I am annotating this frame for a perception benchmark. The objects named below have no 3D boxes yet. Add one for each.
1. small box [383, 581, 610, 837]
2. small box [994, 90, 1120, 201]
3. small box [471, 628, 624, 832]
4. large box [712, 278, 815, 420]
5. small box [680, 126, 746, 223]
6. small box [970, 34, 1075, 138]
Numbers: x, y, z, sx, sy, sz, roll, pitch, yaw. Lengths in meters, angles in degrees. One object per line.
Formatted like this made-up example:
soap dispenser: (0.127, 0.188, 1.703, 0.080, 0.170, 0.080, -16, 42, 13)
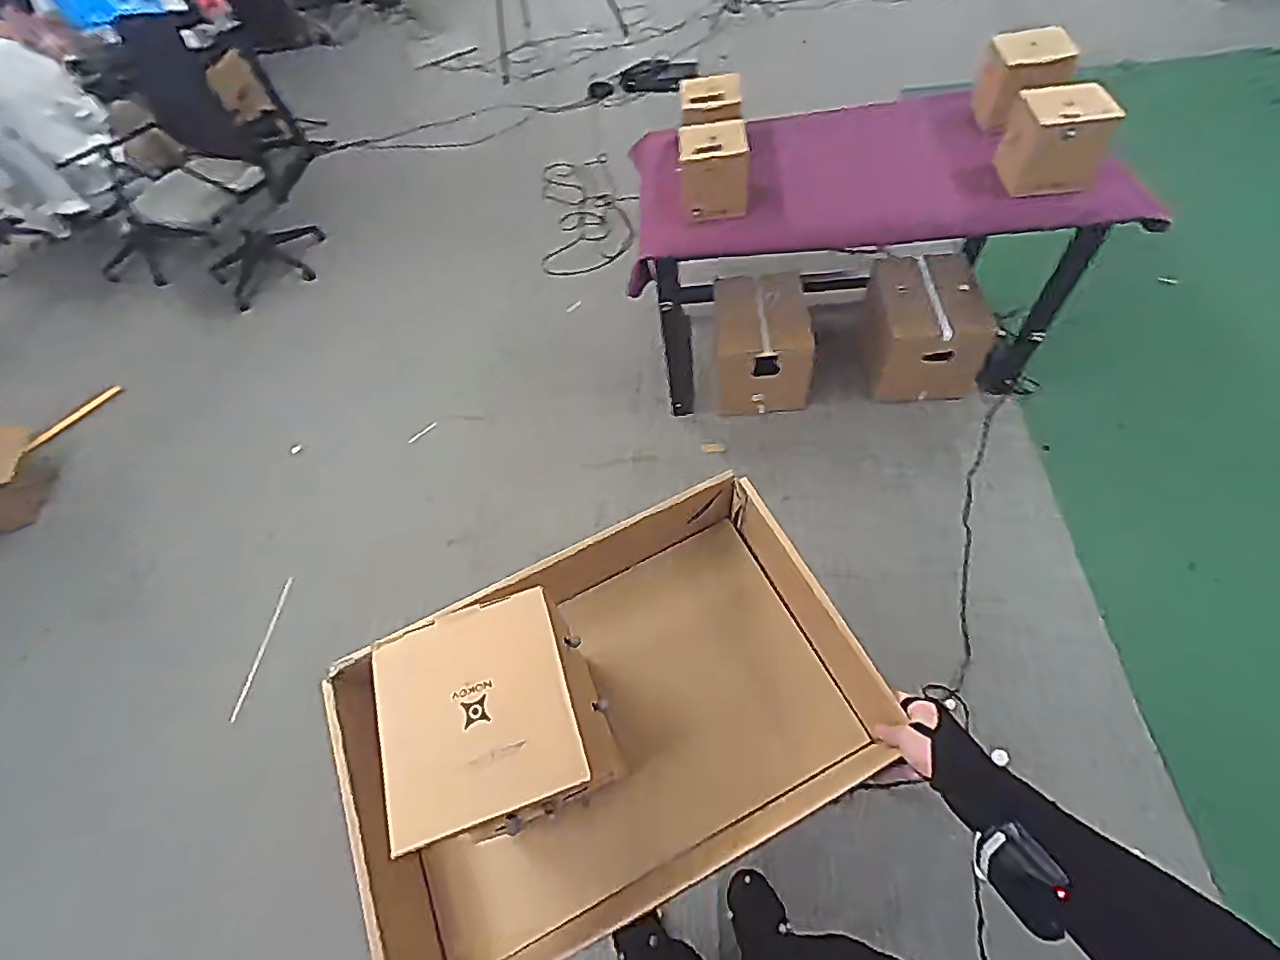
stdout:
small box: (-0.135, 0.228, 0.543, 0.168, 0.176, 0.179, -17, 62, -6)
small box: (0.993, -0.806, 1.310, 0.168, 0.176, 0.179, -1, 54, 11)
small box: (-0.126, 0.312, 0.683, 0.168, 0.176, 0.179, -20, 63, -8)
large box: (0.439, -0.478, 1.993, 0.320, 0.320, 0.408, -4, 55, 7)
small box: (0.198, -0.810, 1.452, 0.168, 0.176, 0.179, -3, 55, 7)
small box: (1.030, -1.071, 1.476, 0.168, 0.176, 0.179, -2, 58, 11)
